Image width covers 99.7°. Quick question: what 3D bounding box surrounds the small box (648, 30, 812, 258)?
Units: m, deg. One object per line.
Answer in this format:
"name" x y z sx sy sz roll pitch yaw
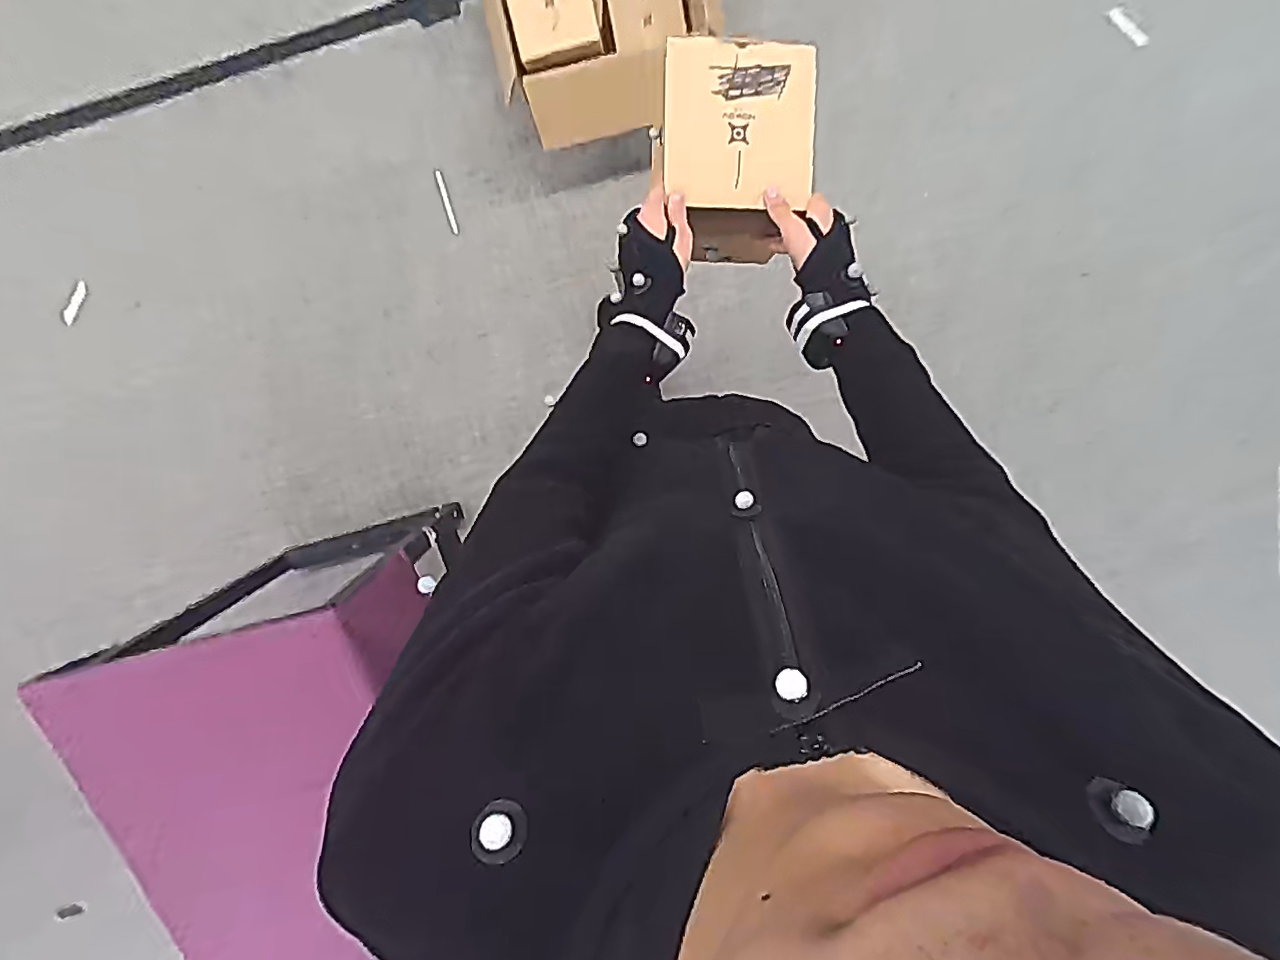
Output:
"small box" 0.099 -0.395 0.664 0.168 0.176 0.179 0 93 -4
